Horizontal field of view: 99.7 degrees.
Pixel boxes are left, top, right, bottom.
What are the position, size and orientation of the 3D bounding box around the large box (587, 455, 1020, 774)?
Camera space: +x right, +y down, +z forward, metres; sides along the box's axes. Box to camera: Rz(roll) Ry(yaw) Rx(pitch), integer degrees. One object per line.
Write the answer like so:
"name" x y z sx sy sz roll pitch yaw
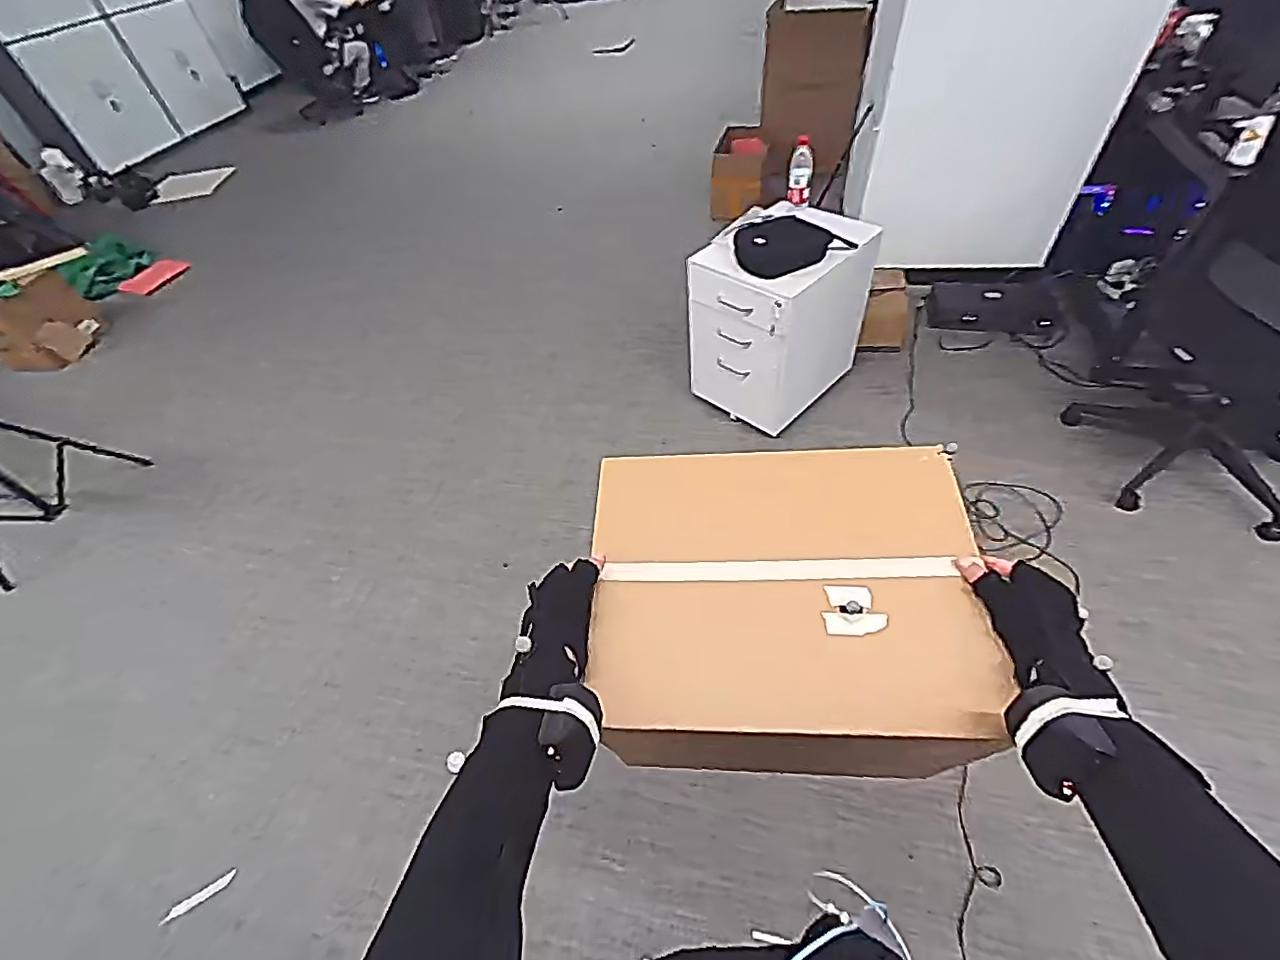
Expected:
"large box" 0.163 0.191 0.705 0.408 0.320 0.320 -3 56 7
